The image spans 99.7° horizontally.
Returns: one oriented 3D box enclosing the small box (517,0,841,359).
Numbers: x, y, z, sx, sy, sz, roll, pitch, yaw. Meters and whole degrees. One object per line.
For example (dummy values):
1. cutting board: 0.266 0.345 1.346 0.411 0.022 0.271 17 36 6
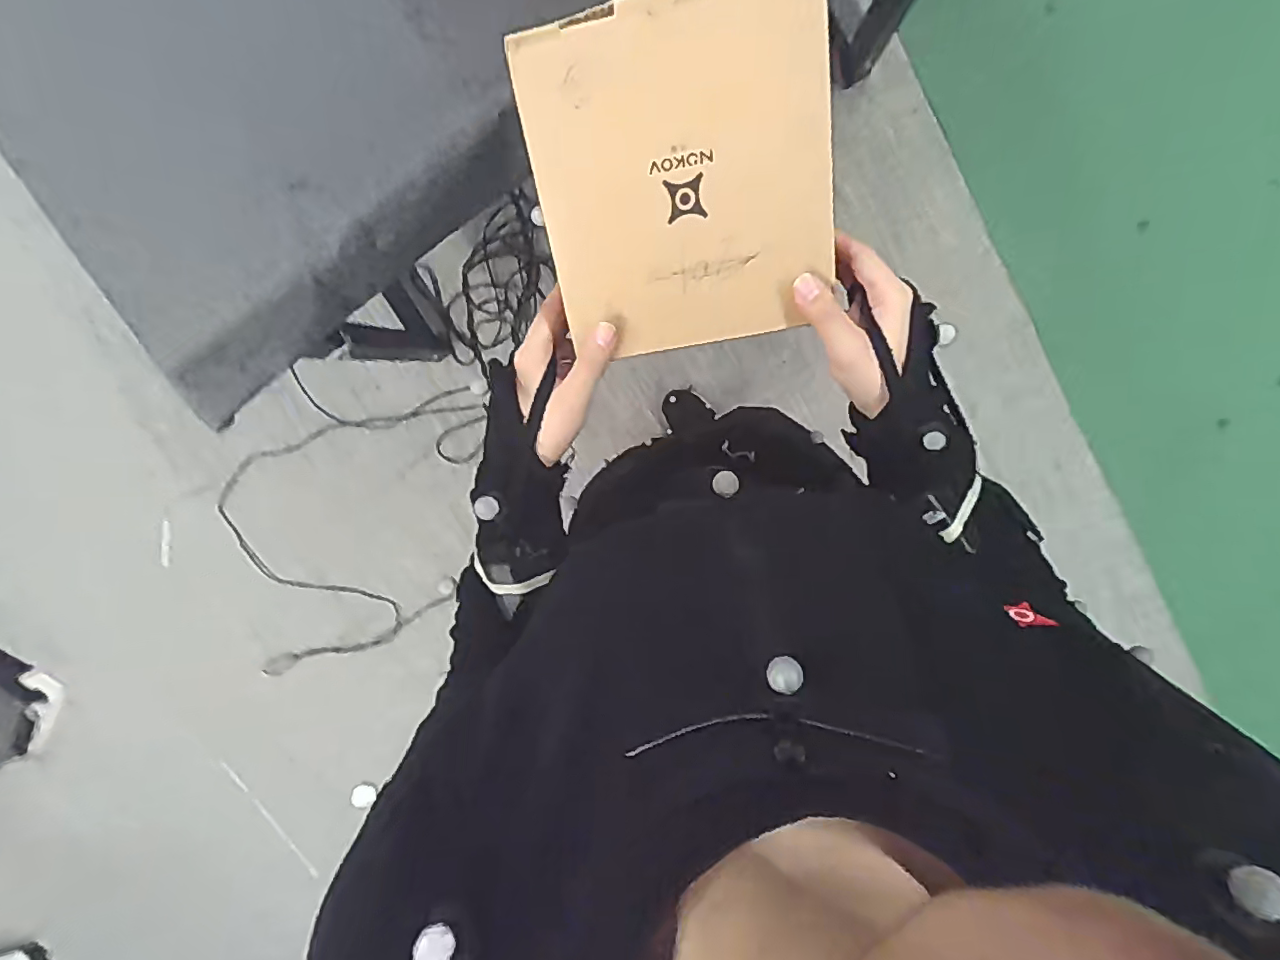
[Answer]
1. small box: 0.031 -0.198 0.375 0.168 0.176 0.179 -8 115 7
